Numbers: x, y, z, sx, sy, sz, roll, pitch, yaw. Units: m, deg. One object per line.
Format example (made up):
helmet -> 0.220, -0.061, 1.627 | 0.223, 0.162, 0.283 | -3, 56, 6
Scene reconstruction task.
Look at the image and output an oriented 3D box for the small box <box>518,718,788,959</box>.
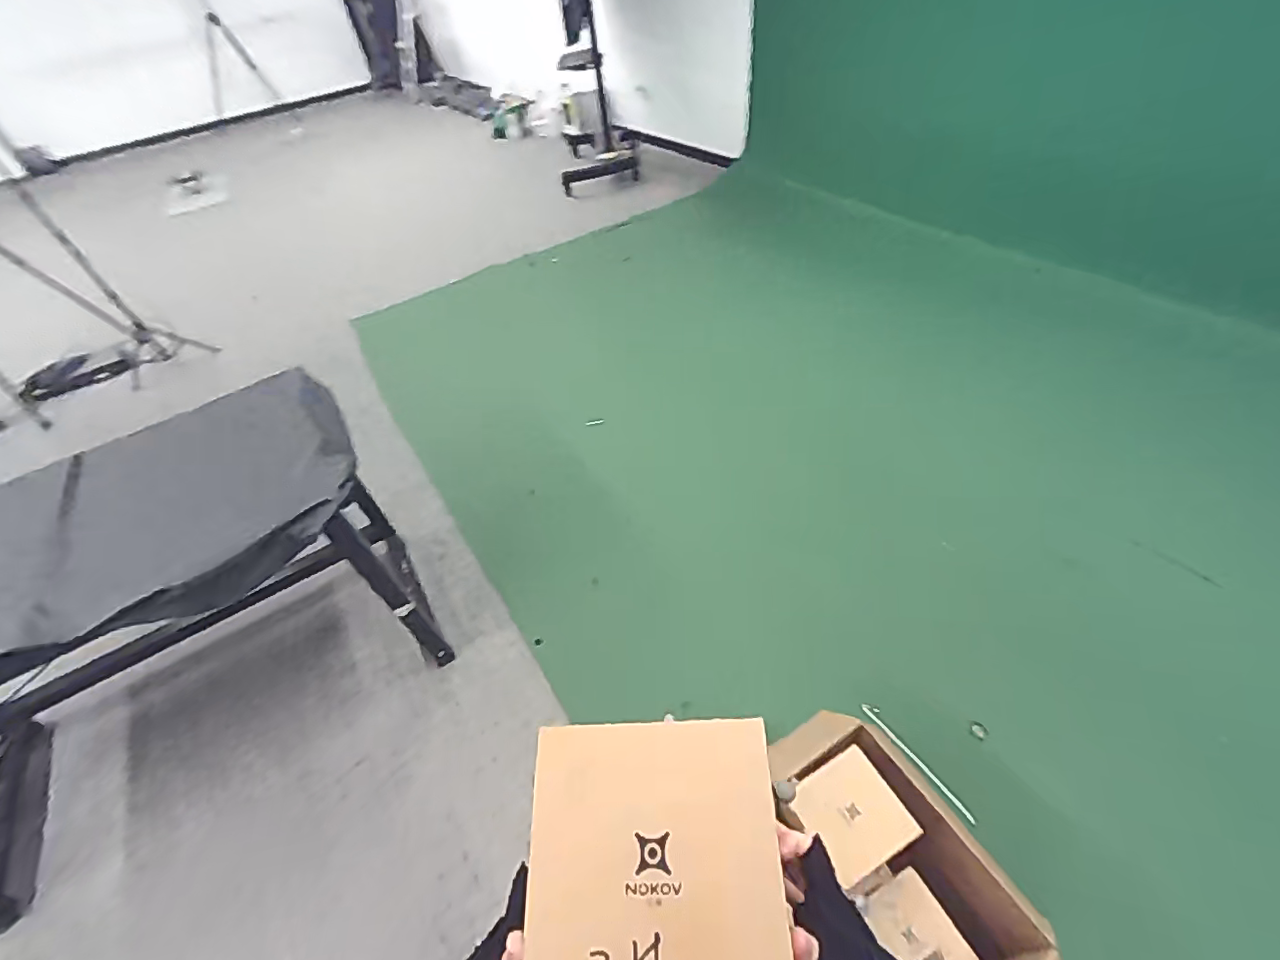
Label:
small box -> 0.017, 0.290, 0.415 | 0.168, 0.176, 0.179 | -5, 59, 7
